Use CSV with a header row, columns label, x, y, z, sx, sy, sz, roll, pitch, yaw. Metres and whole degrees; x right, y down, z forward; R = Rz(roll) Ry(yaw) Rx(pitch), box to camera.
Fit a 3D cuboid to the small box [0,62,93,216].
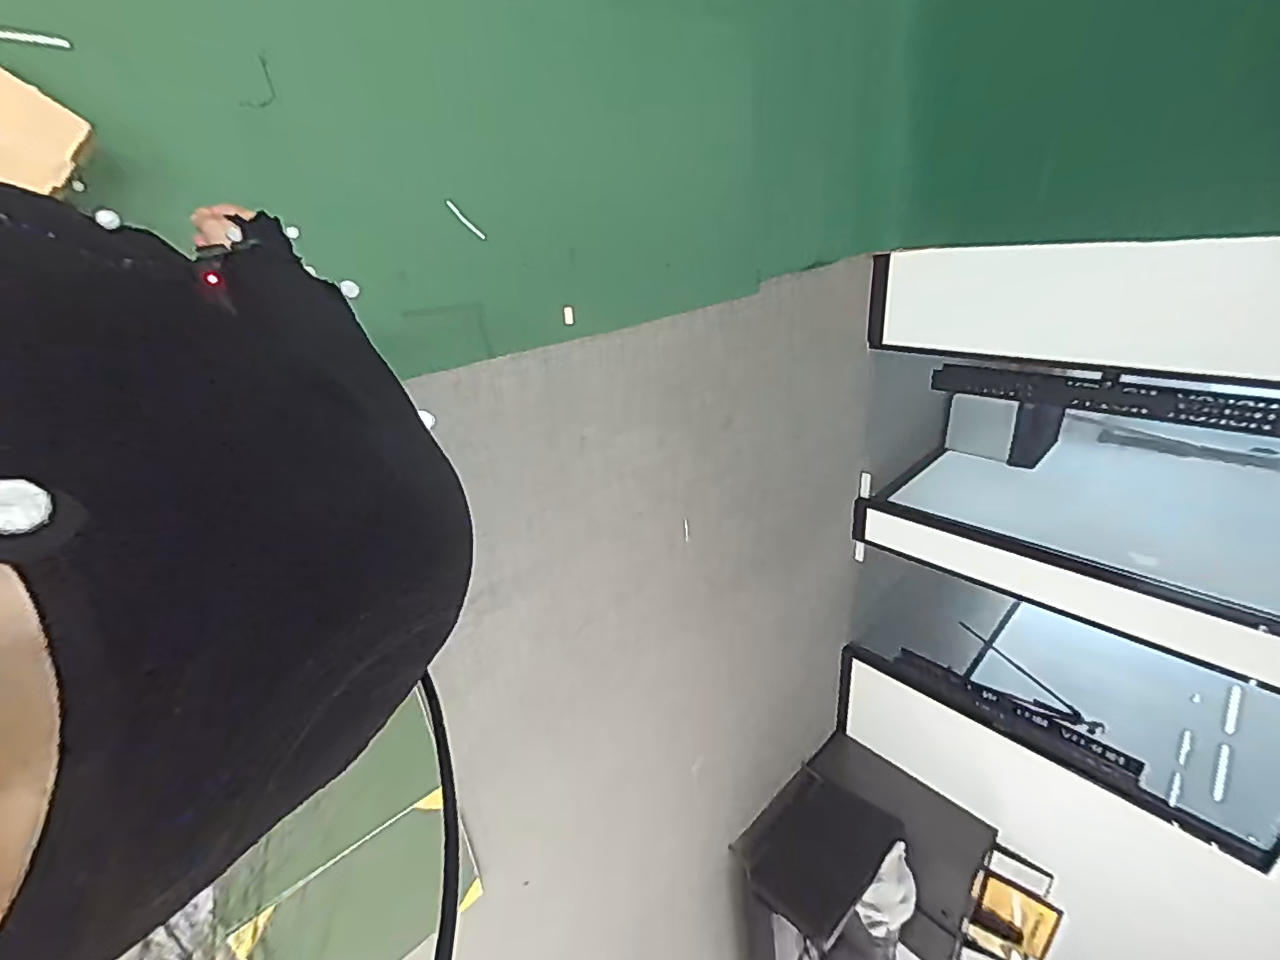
label,x,y,z,sx,sy,sz,roll,pitch,yaw
small box,-0.939,-0.506,0.775,0.179,0.176,0.168,31,83,-46
